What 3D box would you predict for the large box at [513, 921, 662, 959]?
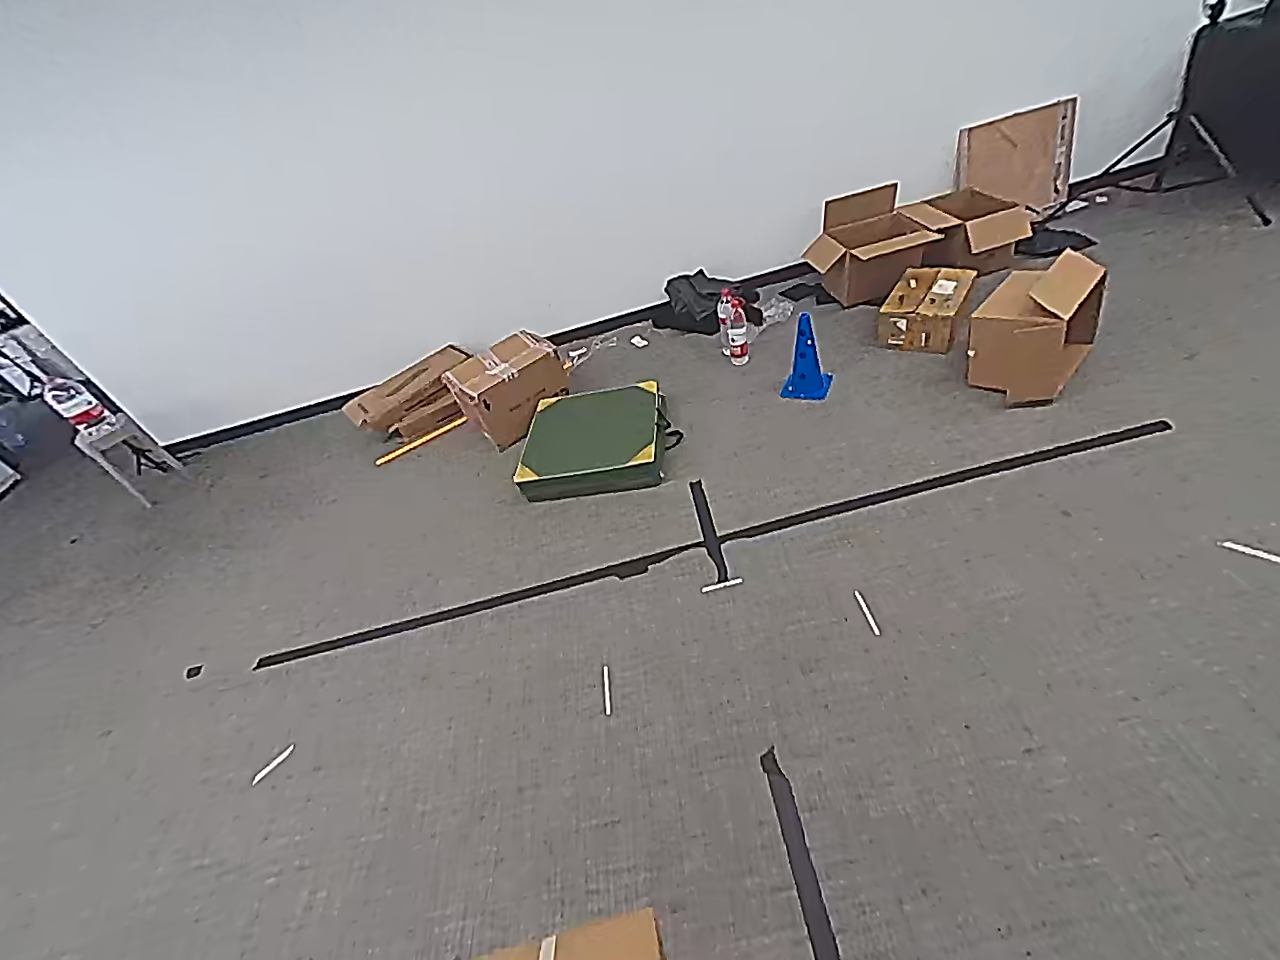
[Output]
[{"bbox_3d":[-0.077,0.831,0.594,0.320,0.320,0.408,-14,-1,-3],"label":"large box"}]
